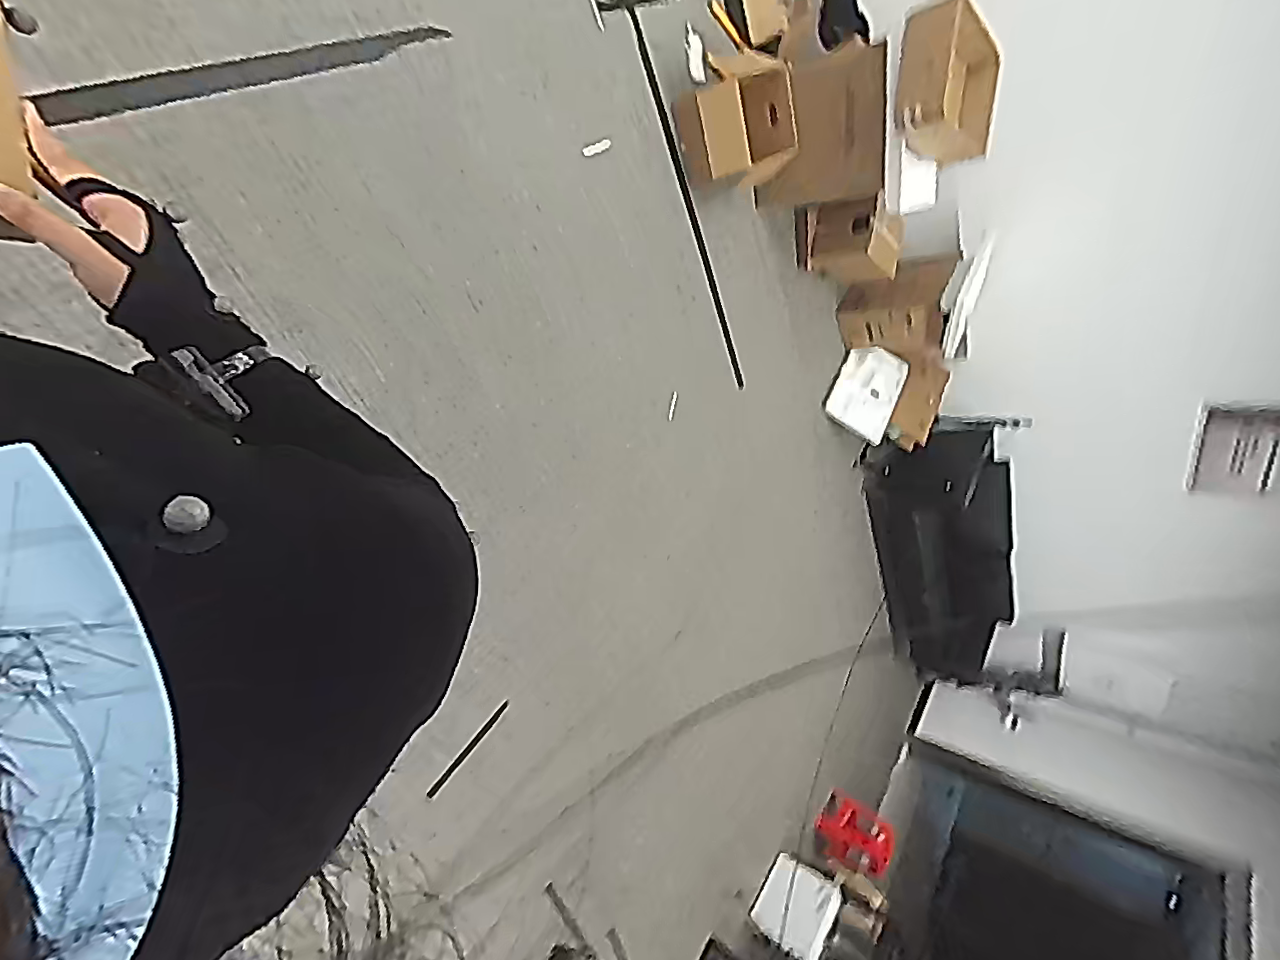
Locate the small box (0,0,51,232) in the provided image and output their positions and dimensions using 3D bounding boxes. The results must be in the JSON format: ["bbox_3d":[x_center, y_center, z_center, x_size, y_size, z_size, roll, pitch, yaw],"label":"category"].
[{"bbox_3d":[-0.505,-0.273,0.334,0.168,0.176,0.179,-12,107,-47],"label":"small box"}]
